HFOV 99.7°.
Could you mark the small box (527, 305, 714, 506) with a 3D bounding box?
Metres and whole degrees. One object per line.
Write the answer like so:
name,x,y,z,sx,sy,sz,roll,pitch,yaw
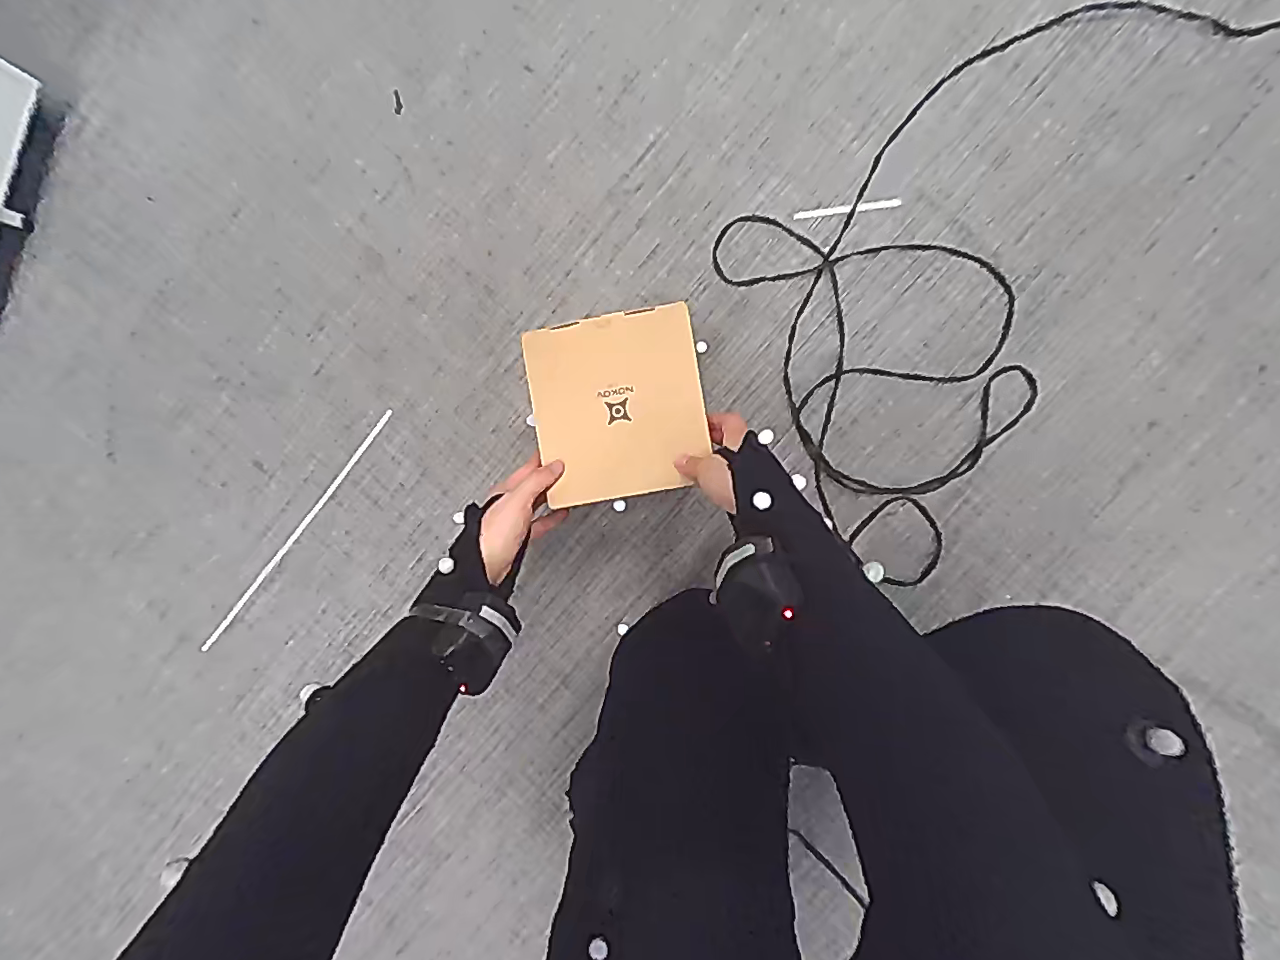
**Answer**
small box,-0.013,-0.073,0.611,0.168,0.176,0.179,-11,89,4
